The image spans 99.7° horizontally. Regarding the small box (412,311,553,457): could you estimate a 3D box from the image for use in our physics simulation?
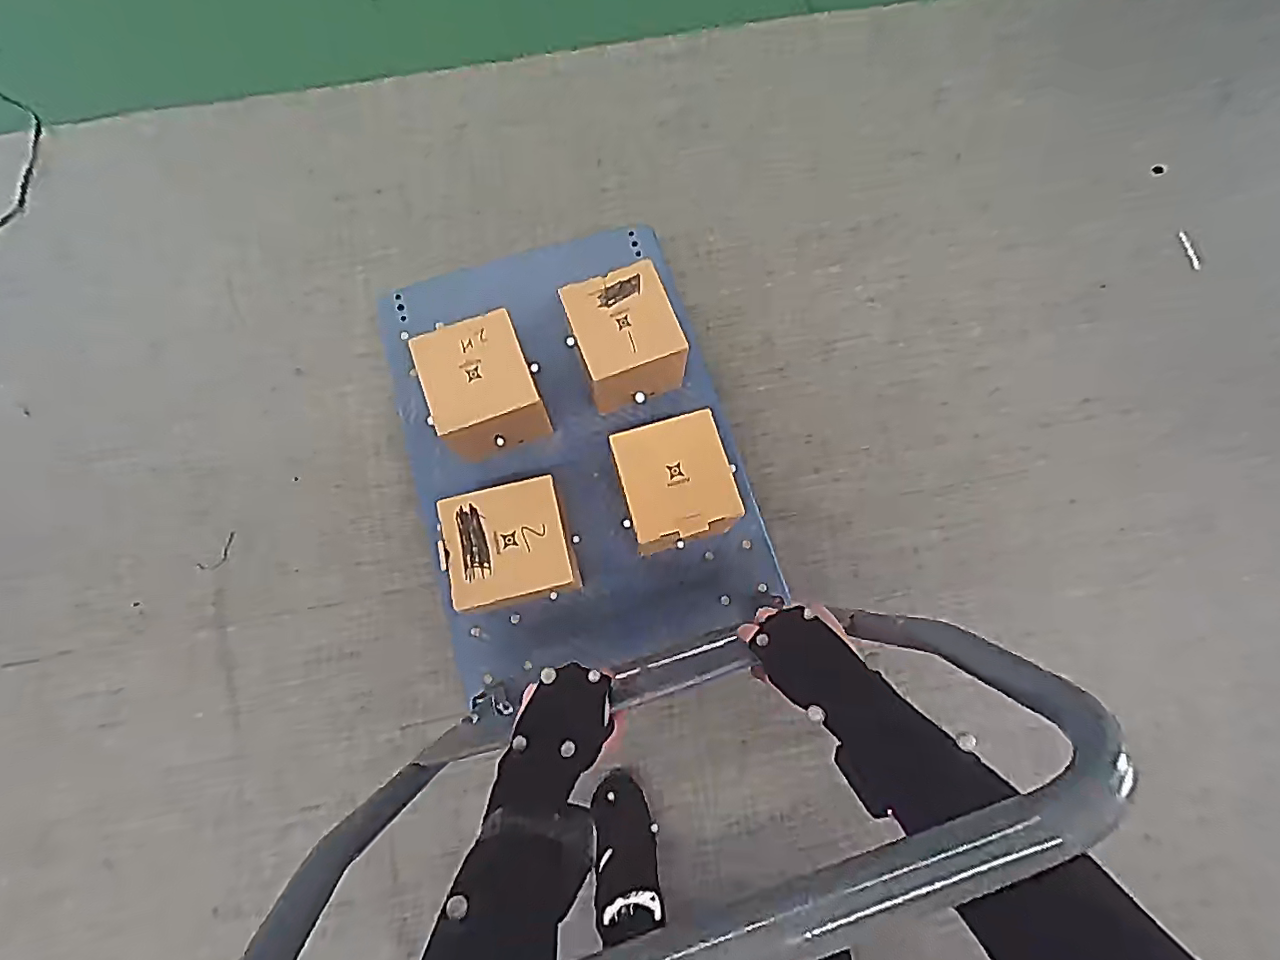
[{"bbox_3d":[-0.259,-0.151,0.924,0.168,0.176,0.179,-20,78,-6],"label":"small box"}]

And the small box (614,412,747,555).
[{"bbox_3d":[0.056,0.013,0.890,0.168,0.176,0.179,-16,78,-4],"label":"small box"}]

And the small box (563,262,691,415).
[{"bbox_3d":[-0.023,-0.239,0.947,0.168,0.176,0.179,-20,79,-4],"label":"small box"}]
